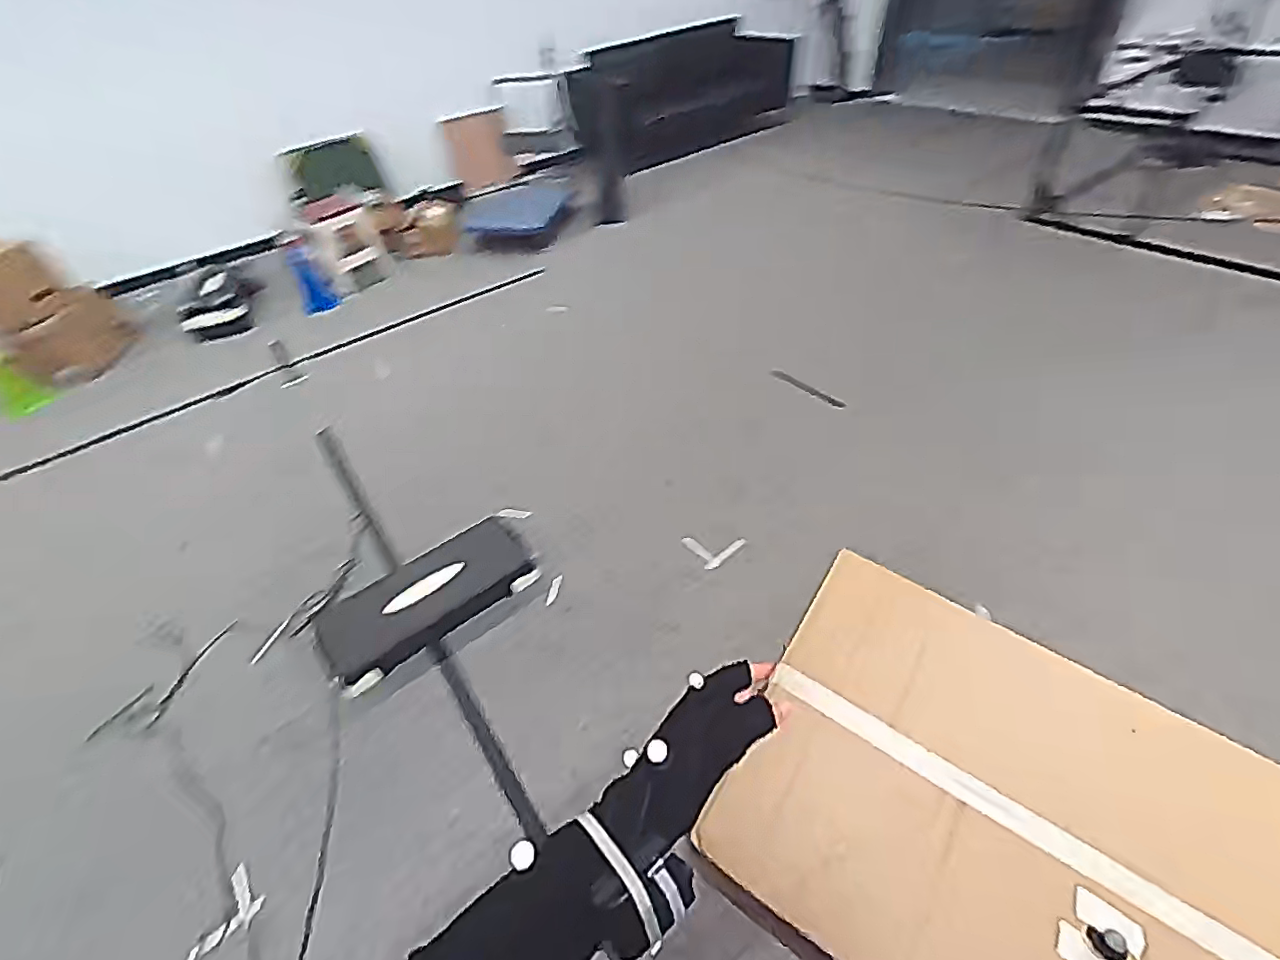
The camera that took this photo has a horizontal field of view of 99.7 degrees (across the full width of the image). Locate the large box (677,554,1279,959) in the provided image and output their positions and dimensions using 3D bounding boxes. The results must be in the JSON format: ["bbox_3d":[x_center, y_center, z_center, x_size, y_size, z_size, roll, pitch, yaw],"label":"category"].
[{"bbox_3d":[0.285,0.348,0.554,0.408,0.320,0.320,26,59,21],"label":"large box"}]
